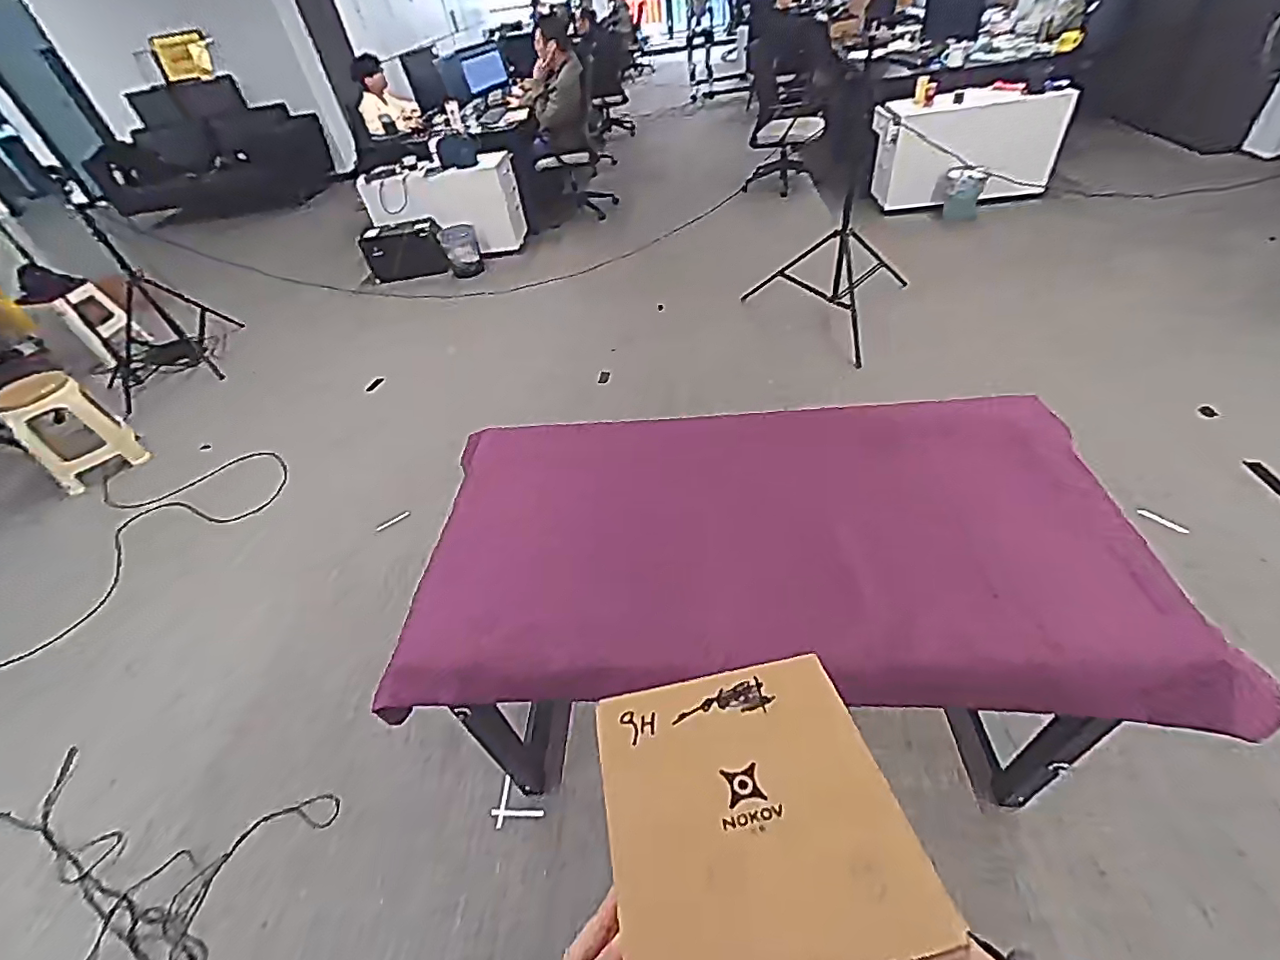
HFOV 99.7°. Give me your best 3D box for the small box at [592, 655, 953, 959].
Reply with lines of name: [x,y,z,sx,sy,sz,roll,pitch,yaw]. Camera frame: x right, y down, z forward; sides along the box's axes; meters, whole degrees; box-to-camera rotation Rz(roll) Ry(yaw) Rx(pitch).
small box: [0.068,0.255,0.366,0.168,0.176,0.179,-11,34,-5]
